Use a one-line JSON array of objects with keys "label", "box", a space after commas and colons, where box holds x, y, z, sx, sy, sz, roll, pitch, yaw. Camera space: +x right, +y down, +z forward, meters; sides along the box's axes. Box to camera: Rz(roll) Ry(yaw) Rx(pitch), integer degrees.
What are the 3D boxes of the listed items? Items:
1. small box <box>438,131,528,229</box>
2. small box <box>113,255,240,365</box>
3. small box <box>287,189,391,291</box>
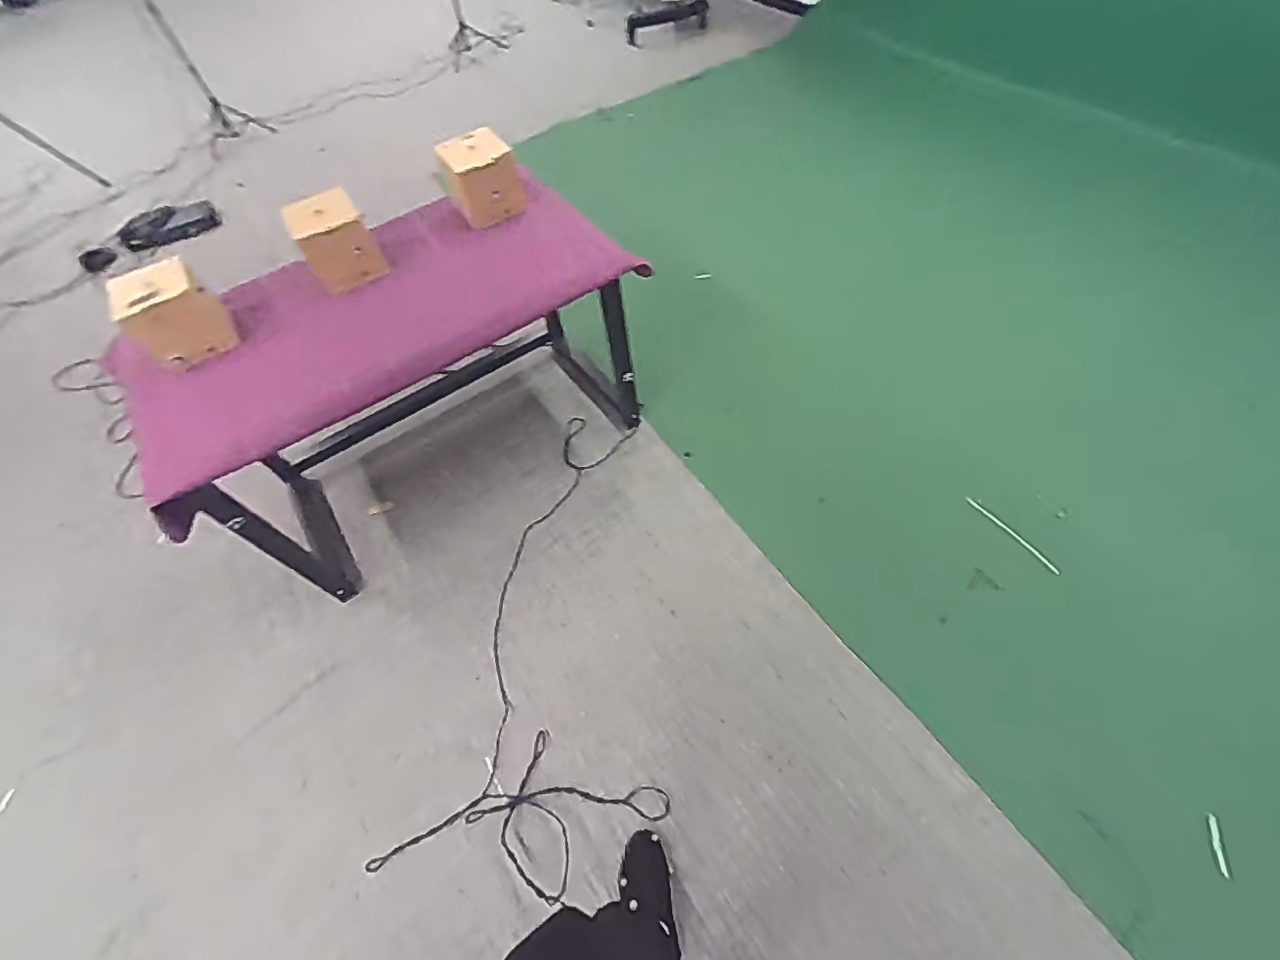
[{"label": "small box", "box": [-0.439, -0.845, 1.537, 0.168, 0.176, 0.179, -30, 62, -14]}, {"label": "small box", "box": [-1.115, -0.404, 1.312, 0.168, 0.176, 0.179, -31, 59, -15]}, {"label": "small box", "box": [-0.789, -0.626, 1.431, 0.168, 0.176, 0.179, -28, 59, -14]}]
